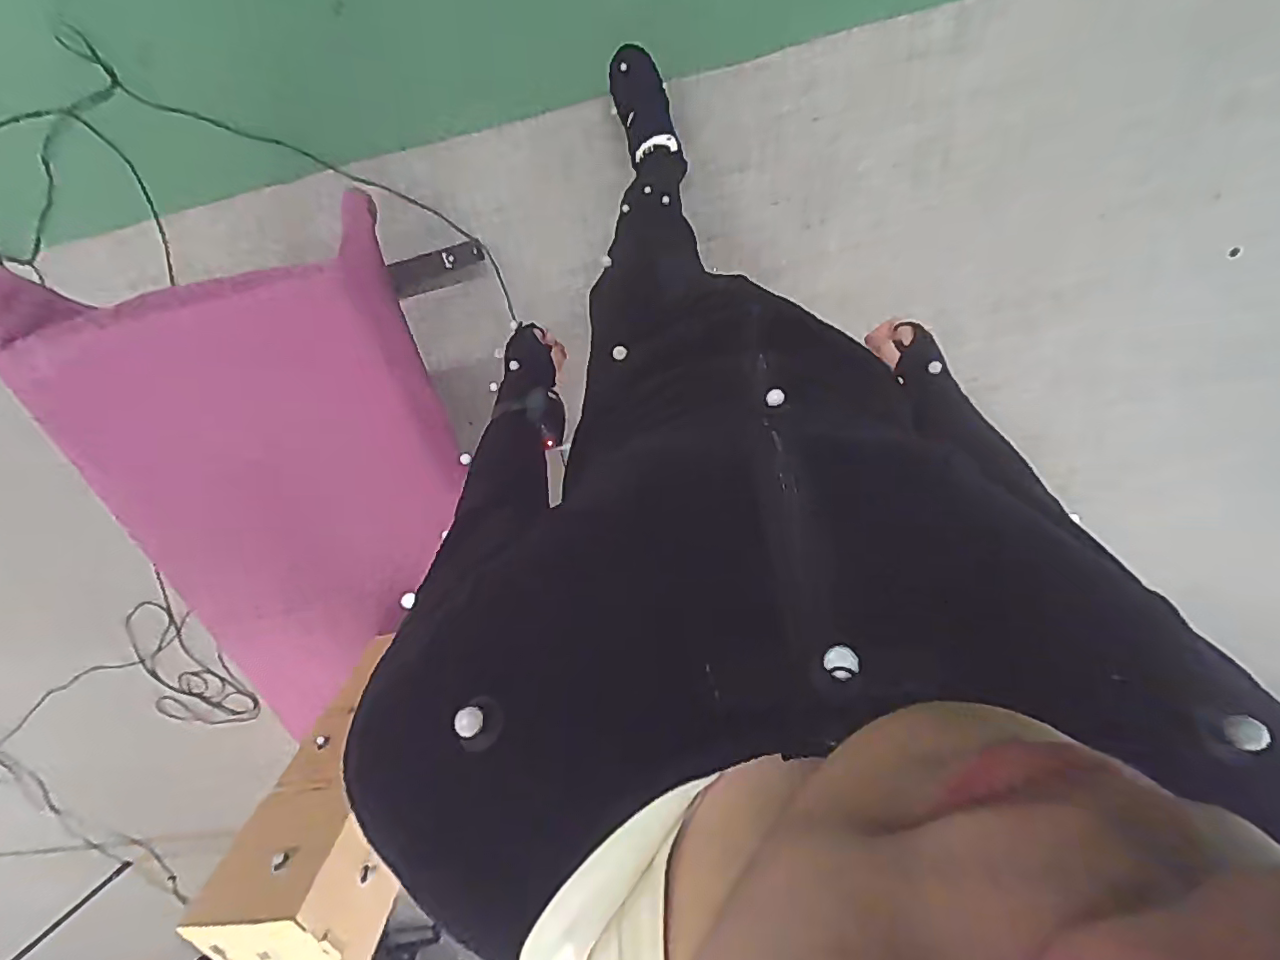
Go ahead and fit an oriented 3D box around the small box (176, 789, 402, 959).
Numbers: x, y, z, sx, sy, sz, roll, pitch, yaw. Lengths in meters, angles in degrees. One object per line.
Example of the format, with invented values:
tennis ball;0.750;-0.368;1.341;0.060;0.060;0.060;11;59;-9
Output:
small box;-0.458;0.557;0.748;0.179;0.176;0.168;-12;115;9

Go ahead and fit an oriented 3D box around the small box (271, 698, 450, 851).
small box;-0.444;0.482;0.892;0.168;0.176;0.179;-11;116;9
